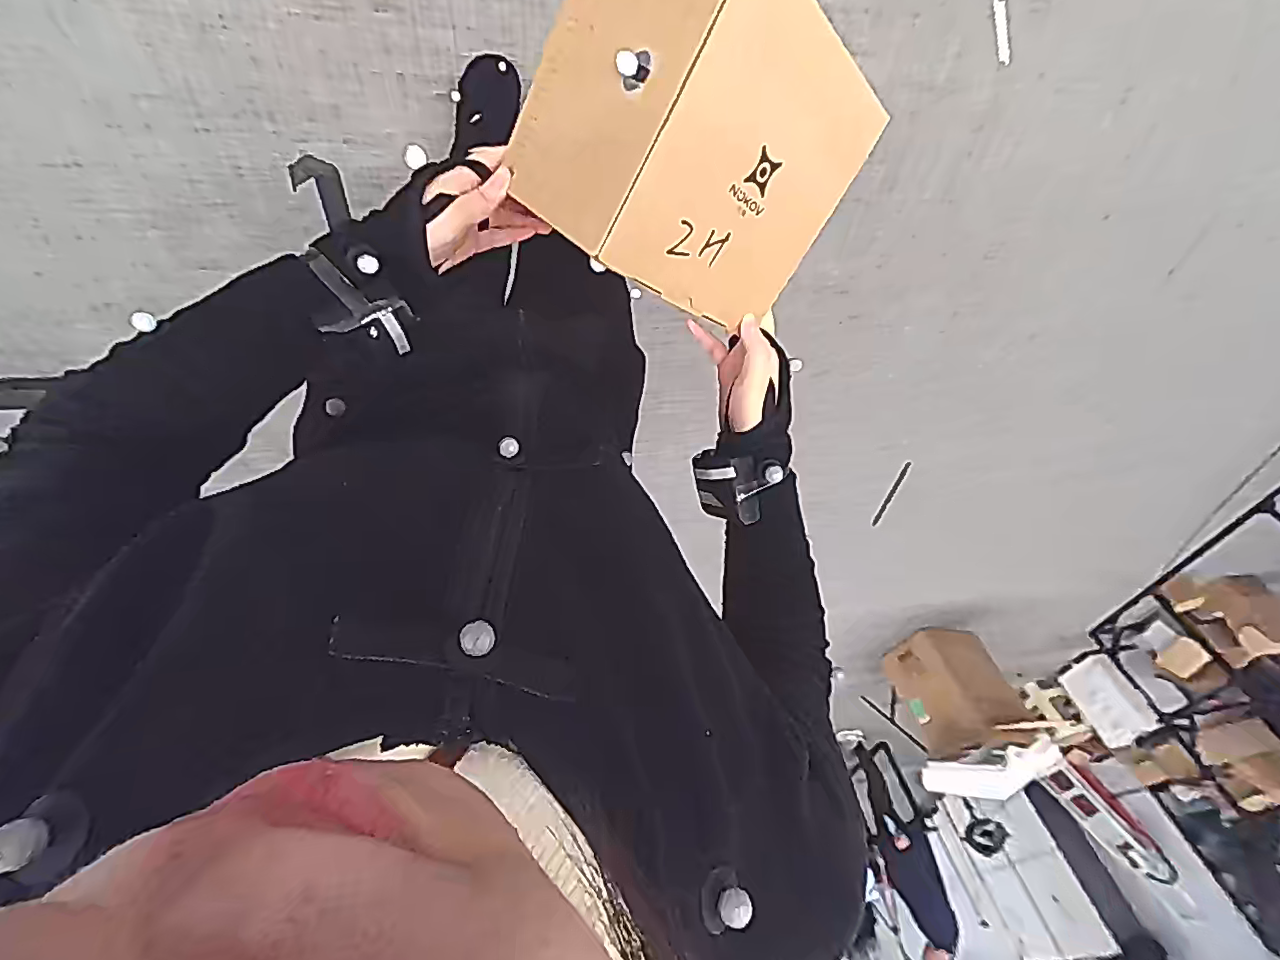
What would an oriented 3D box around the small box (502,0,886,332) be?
[{"bbox_3d":[0.026,-0.240,0.383,0.168,0.176,0.179,9,121,-45],"label":"small box"}]
